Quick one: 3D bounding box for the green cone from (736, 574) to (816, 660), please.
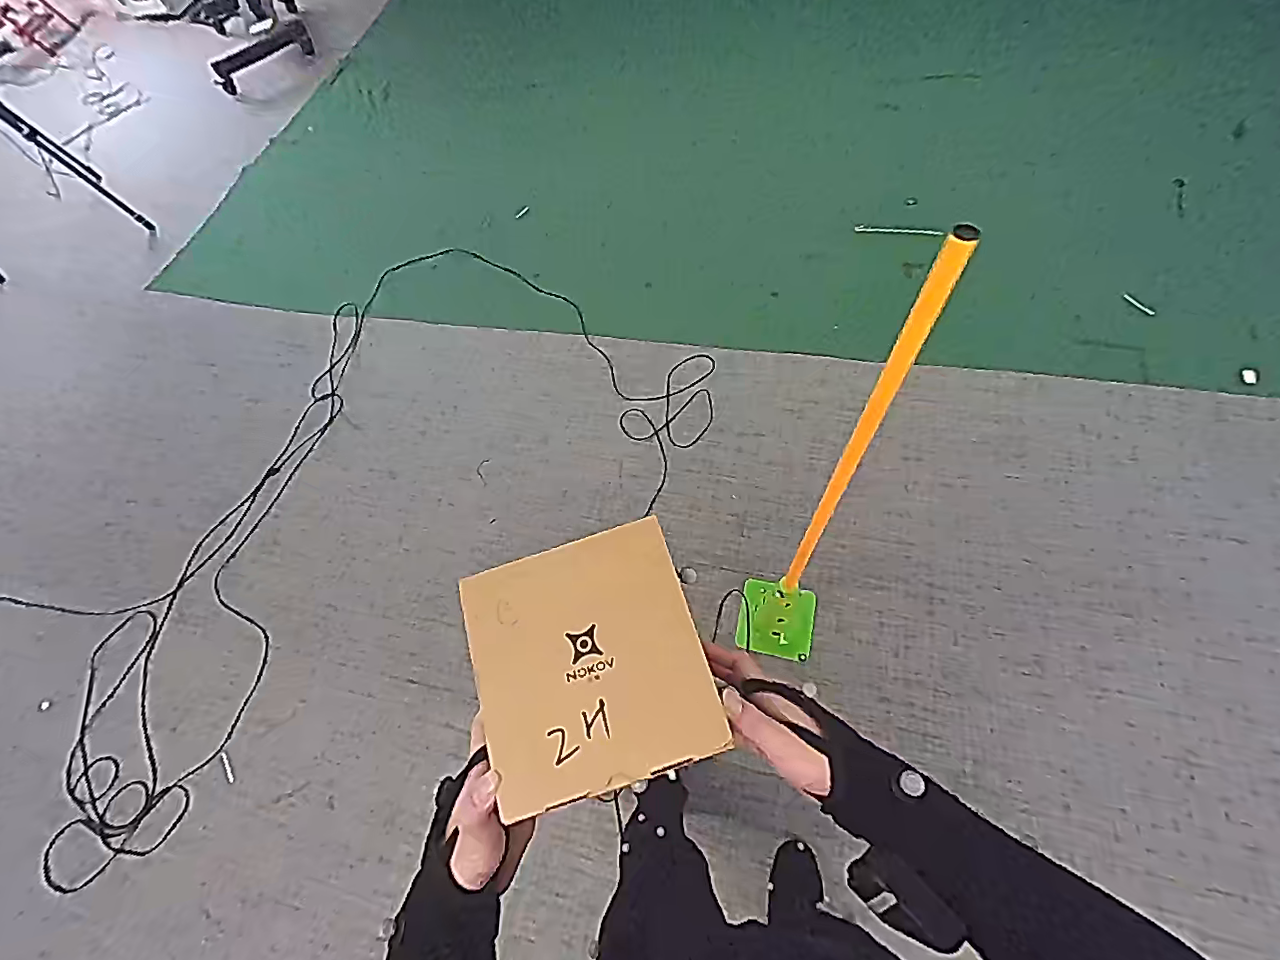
[{"bbox_3d":[0.355,0.307,1.362,0.202,0.368,0.200,10,65,15],"label":"green cone"}]

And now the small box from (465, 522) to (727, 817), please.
[{"bbox_3d":[-0.033,0.162,0.474,0.168,0.176,0.179,-18,67,-1],"label":"small box"}]
